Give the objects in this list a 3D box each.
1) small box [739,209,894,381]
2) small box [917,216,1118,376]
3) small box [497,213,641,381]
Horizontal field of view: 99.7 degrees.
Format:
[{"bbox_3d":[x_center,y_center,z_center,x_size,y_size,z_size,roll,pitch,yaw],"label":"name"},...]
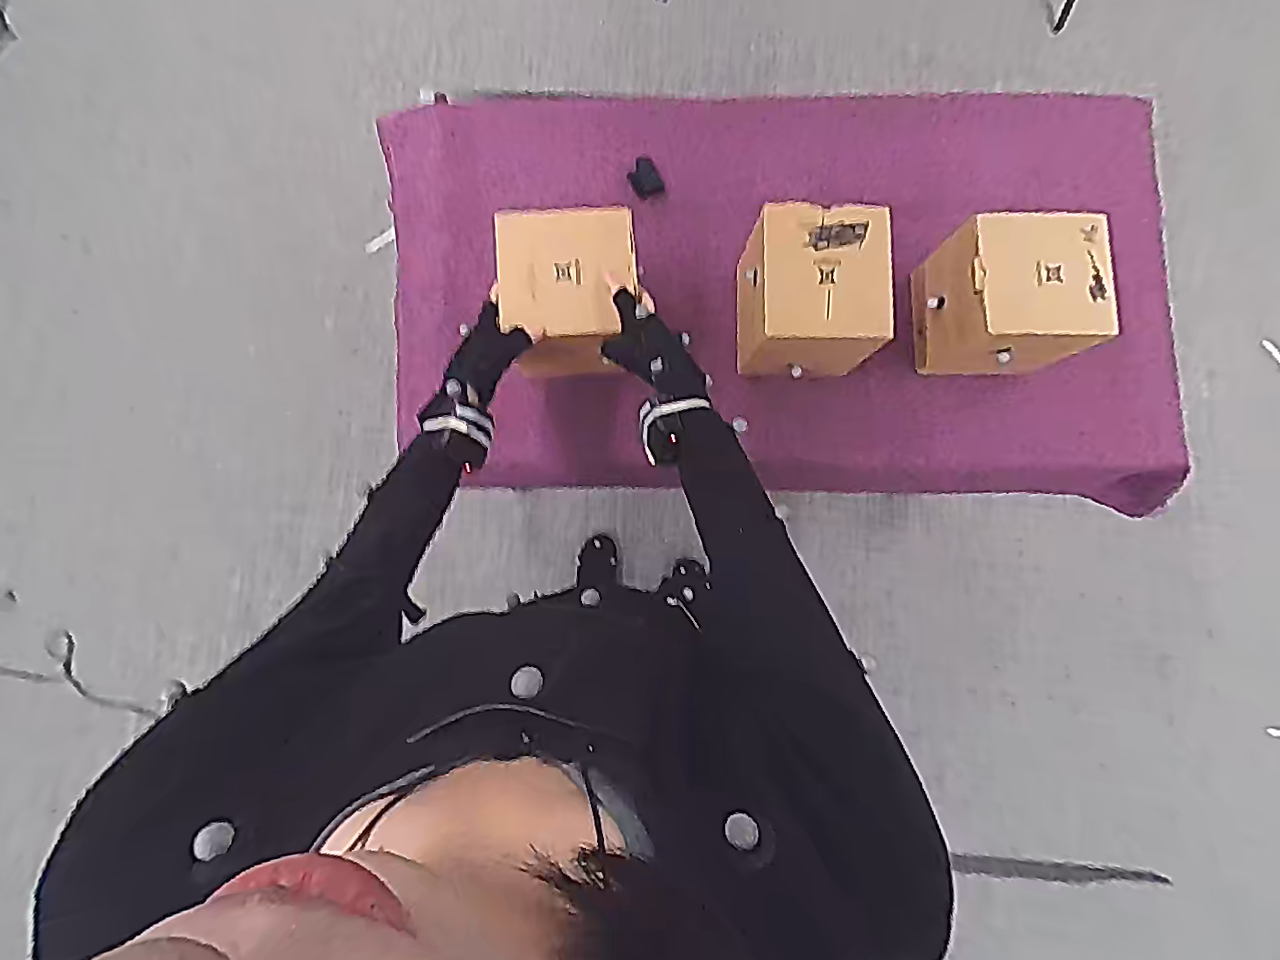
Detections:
[{"bbox_3d":[0.237,-0.252,0.767,0.168,0.176,0.179,1,83,-1],"label":"small box"},{"bbox_3d":[0.518,-0.252,0.773,0.179,0.176,0.168,0,83,0],"label":"small box"},{"bbox_3d":[-0.092,-0.246,0.760,0.179,0.176,0.168,-4,82,-1],"label":"small box"}]
